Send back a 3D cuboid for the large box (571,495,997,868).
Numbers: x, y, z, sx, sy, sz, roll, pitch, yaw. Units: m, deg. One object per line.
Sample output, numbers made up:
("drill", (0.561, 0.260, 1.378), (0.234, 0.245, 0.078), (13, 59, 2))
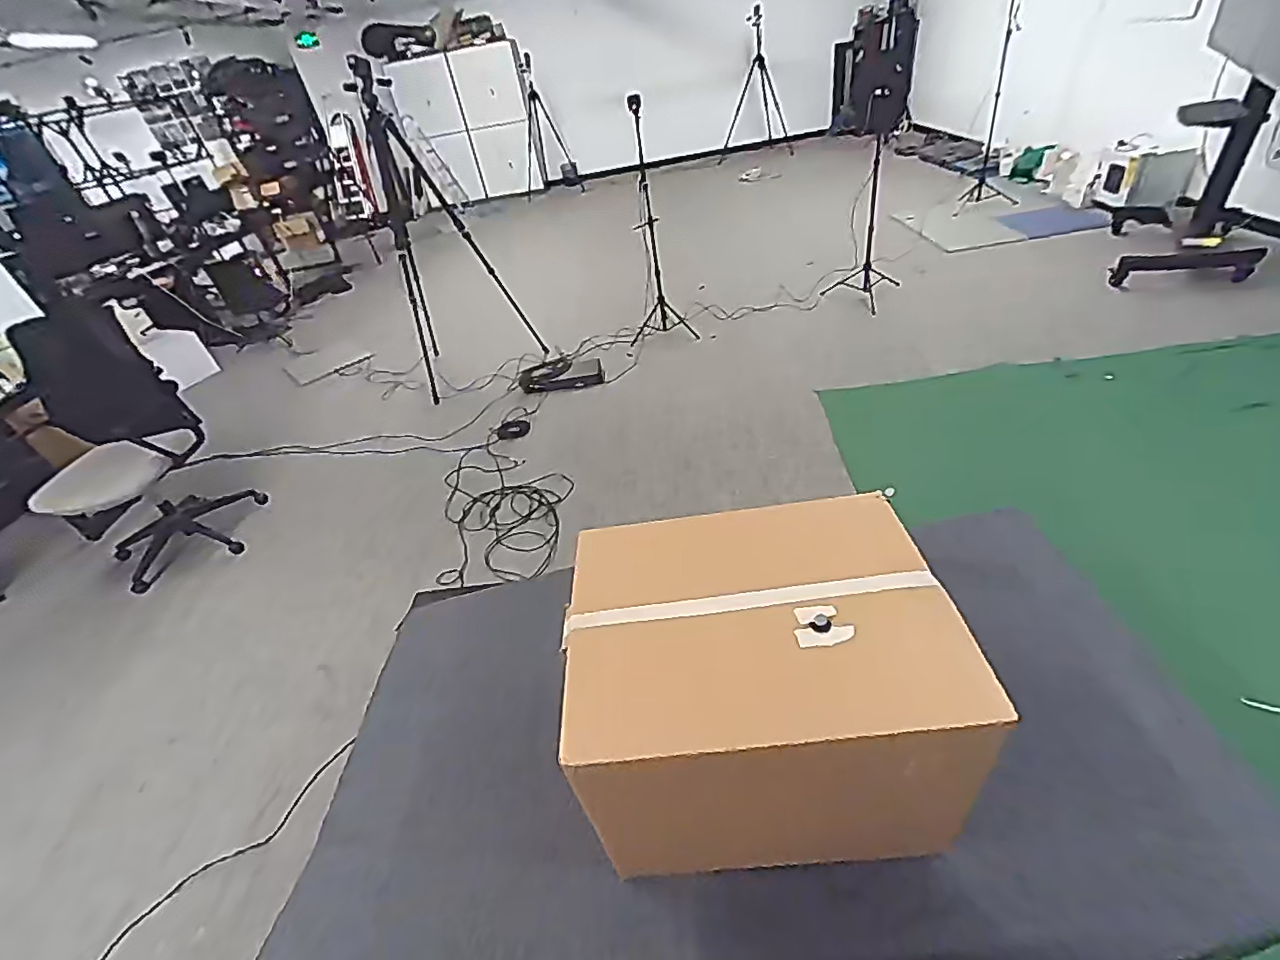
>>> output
("large box", (0.144, 0.257, 0.703), (0.408, 0.320, 0.320), (-8, 38, 4))
